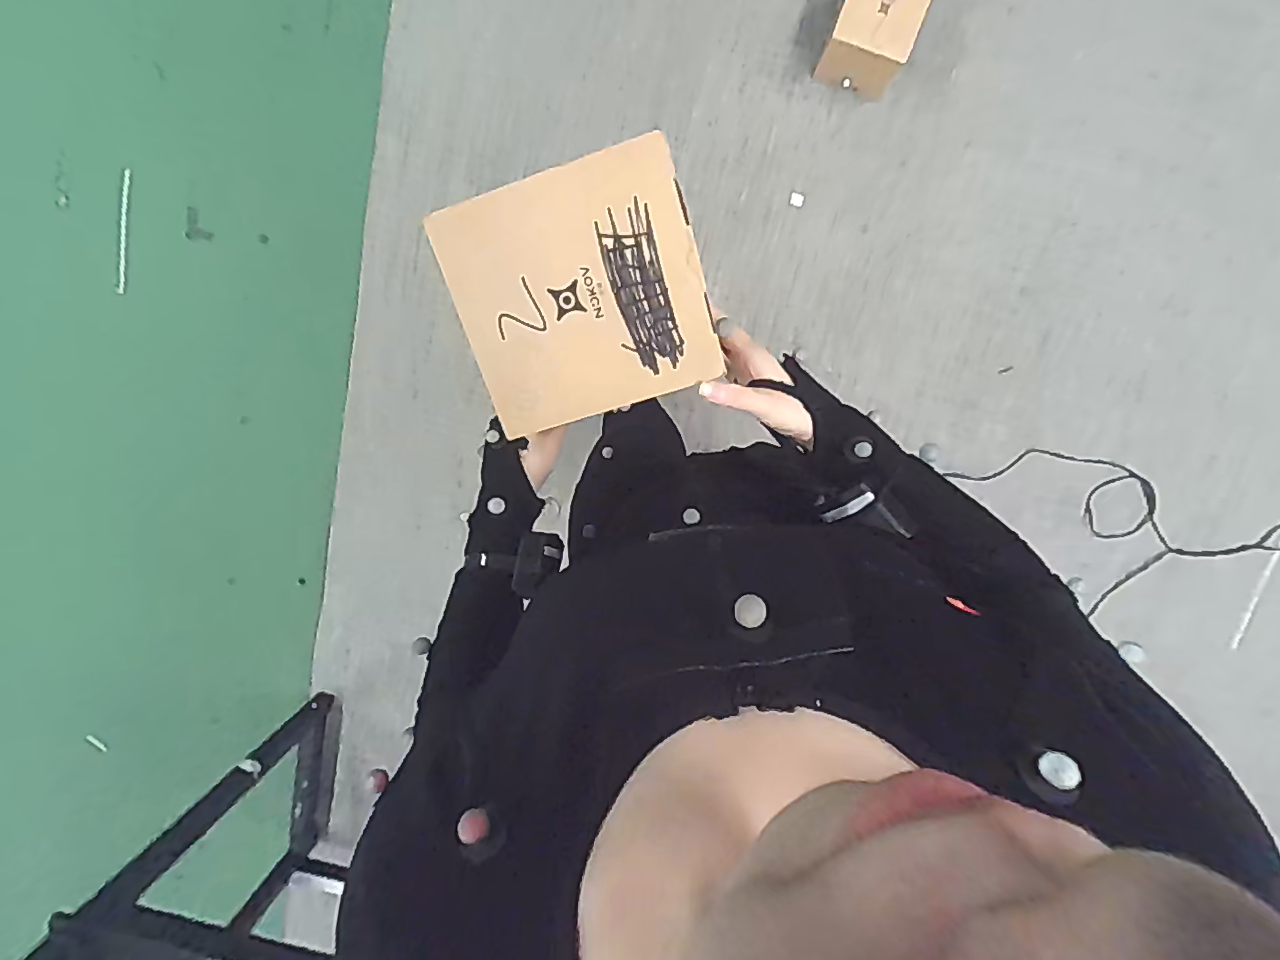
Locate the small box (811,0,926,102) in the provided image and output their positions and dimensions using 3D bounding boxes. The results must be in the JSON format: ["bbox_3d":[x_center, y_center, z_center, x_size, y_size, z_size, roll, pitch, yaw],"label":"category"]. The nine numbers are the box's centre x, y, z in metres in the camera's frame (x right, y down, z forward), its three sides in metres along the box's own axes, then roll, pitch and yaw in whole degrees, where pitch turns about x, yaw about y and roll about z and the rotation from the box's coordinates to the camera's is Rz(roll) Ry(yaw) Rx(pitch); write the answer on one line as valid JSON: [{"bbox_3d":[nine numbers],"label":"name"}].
[{"bbox_3d":[0.494,-0.980,1.181,0.168,0.176,0.179,20,102,-1],"label":"small box"}]
